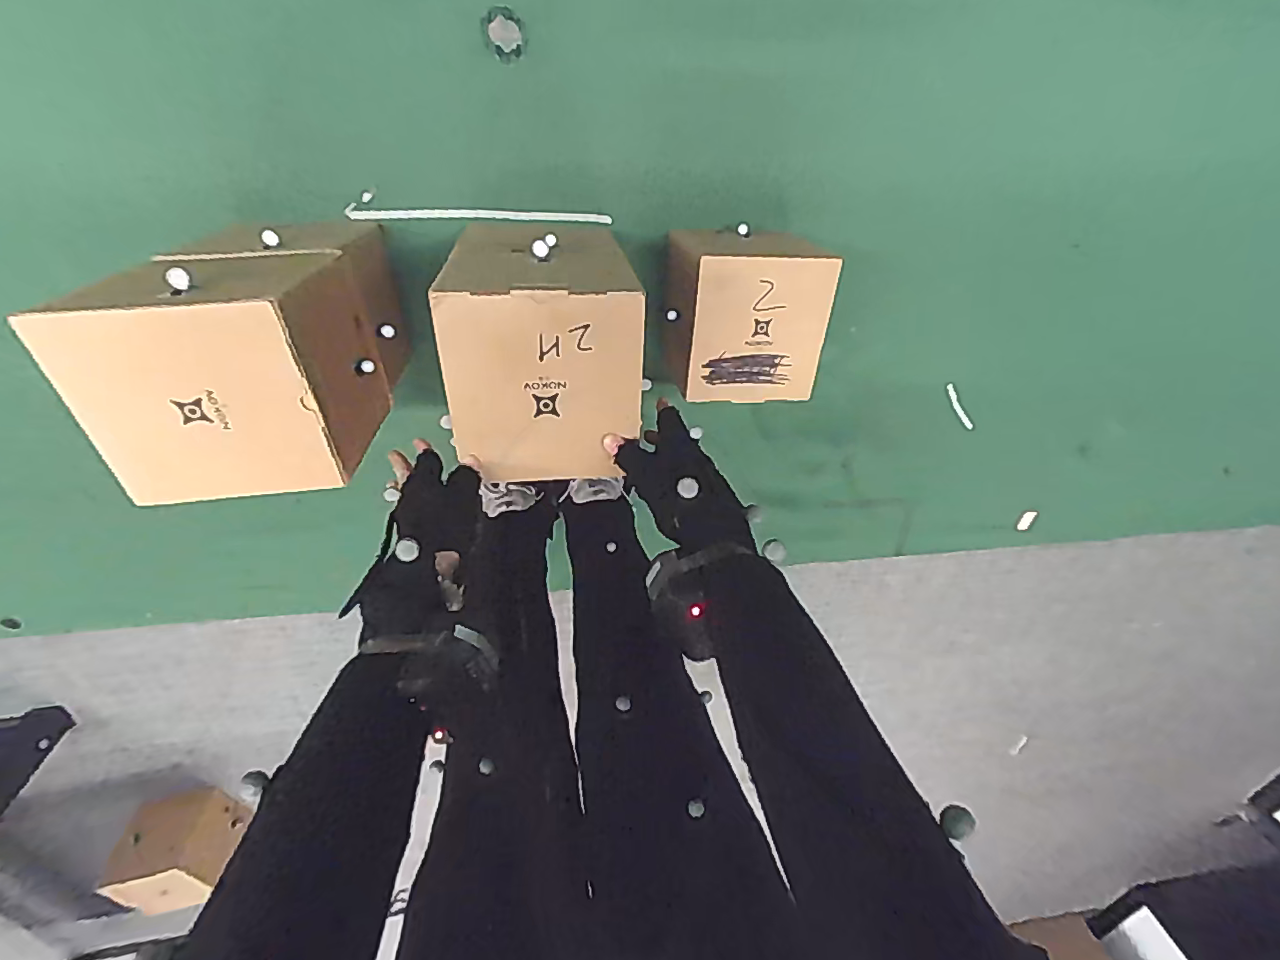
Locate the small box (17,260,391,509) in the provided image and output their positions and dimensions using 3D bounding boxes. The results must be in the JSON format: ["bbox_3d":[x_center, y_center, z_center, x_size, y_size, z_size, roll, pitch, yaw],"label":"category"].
[{"bbox_3d":[-0.353,-0.094,0.488,0.179,0.176,0.168,-6,124,-6],"label":"small box"}]

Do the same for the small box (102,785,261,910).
[{"bbox_3d":[-1.003,0.812,1.202,0.179,0.176,0.168,-13,126,0],"label":"small box"}]

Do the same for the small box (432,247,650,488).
[{"bbox_3d":[-0.088,-0.111,0.518,0.168,0.176,0.179,-3,124,-8],"label":"small box"}]
